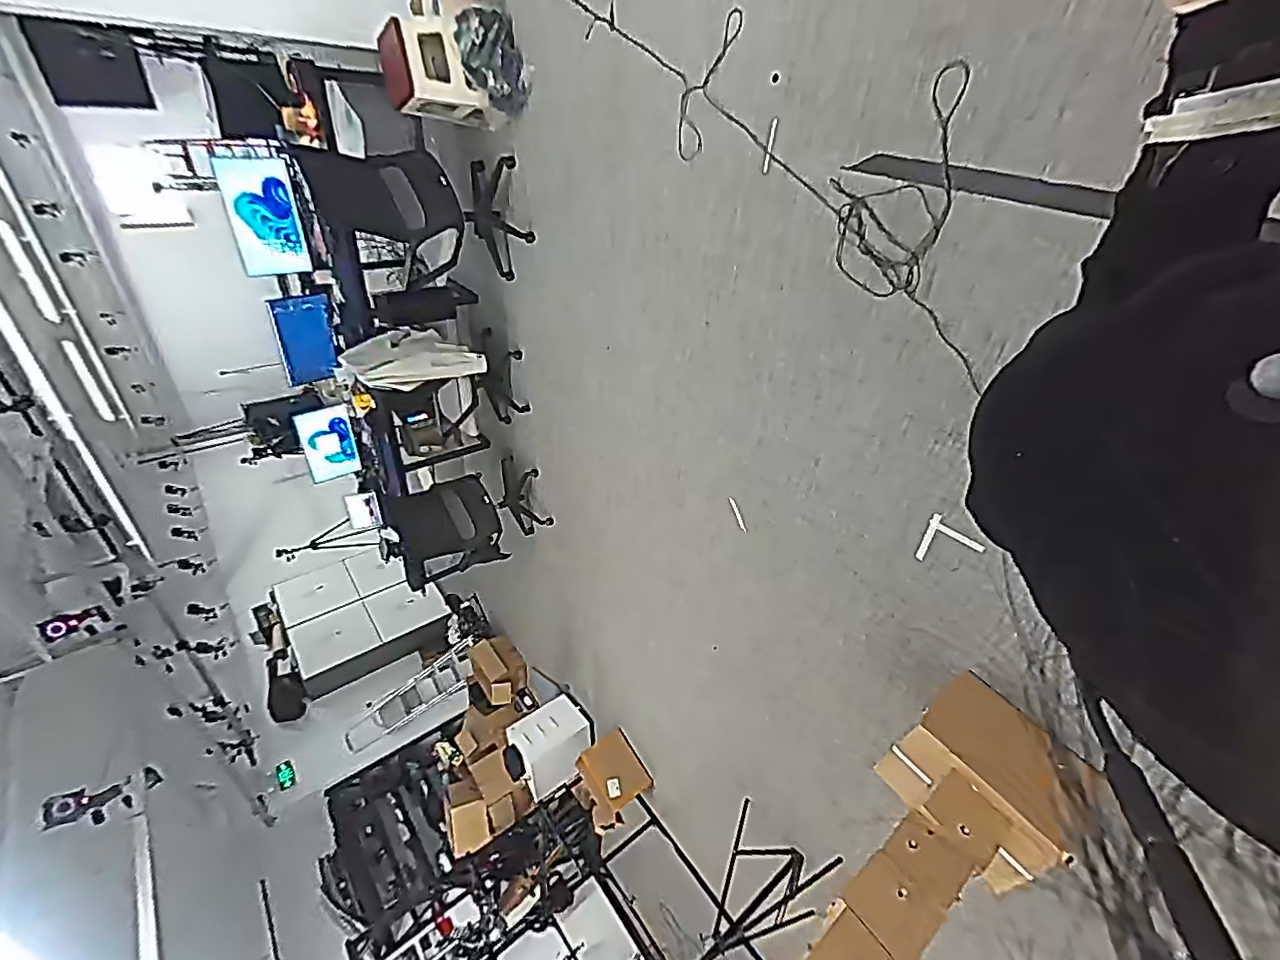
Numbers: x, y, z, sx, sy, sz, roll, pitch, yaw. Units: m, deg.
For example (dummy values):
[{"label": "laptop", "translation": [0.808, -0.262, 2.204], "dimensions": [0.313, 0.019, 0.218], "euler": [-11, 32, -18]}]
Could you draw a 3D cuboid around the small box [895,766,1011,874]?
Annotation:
[{"label": "small box", "translation": [0.825, 0.903, 1.426], "dimensions": [0.179, 0.176, 0.168], "euler": [46, 141, 31]}]

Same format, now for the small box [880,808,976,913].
[{"label": "small box", "translation": [0.701, 0.969, 1.344], "dimensions": [0.168, 0.176, 0.179], "euler": [32, 134, 43]}]

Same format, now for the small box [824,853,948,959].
[{"label": "small box", "translation": [0.569, 1.015, 1.258], "dimensions": [0.179, 0.176, 0.168], "euler": [38, 137, 39]}]
